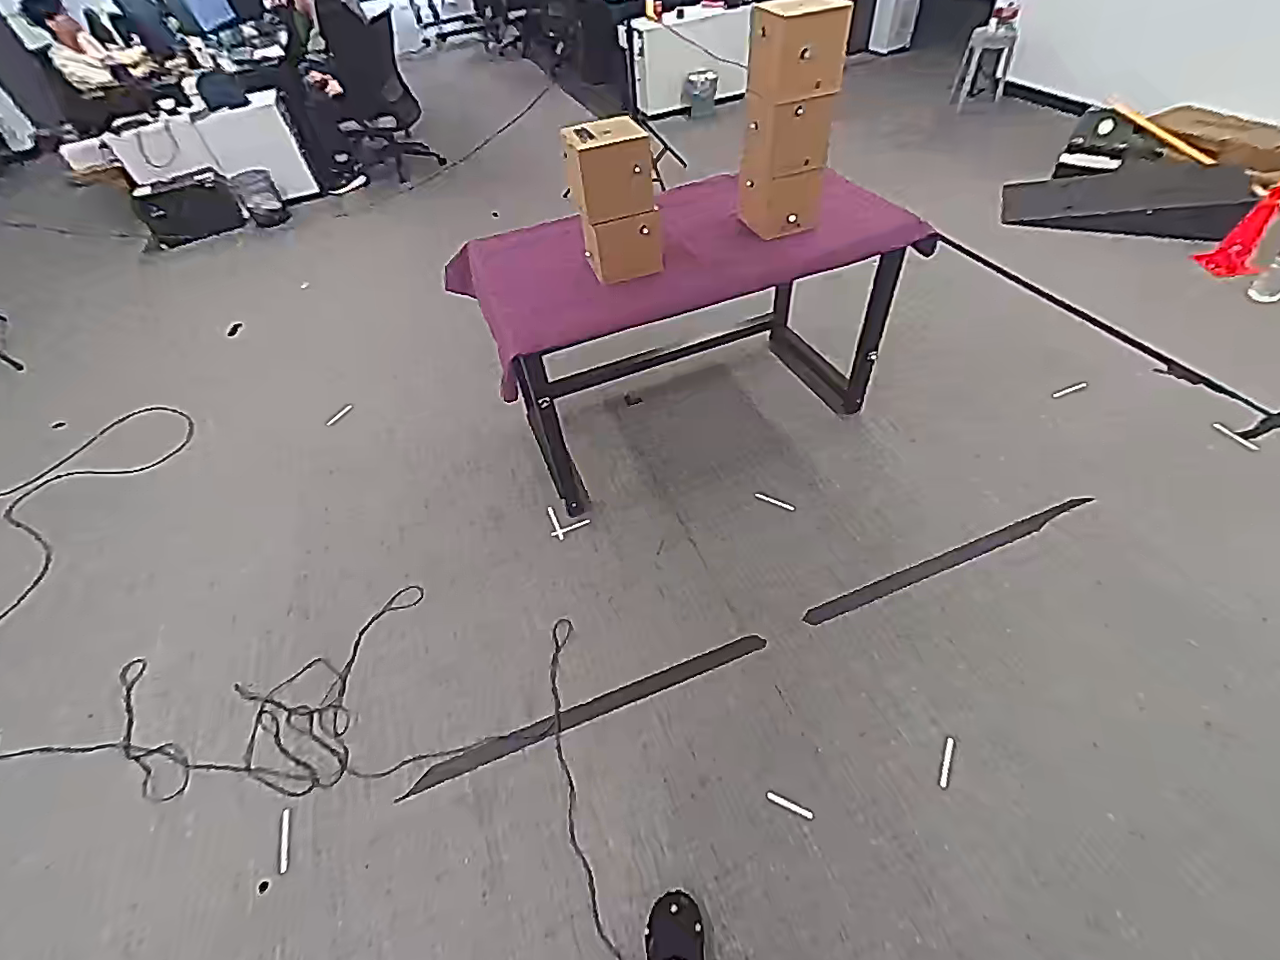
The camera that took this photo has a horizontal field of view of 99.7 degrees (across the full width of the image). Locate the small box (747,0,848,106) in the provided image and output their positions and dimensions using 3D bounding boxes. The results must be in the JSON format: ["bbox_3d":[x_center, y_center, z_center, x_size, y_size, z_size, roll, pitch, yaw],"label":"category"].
[{"bbox_3d":[0.365,-1.011,1.283,0.168,0.176,0.179,-17,49,-7],"label":"small box"}]

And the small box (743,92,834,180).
[{"bbox_3d":[0.377,-0.909,1.411,0.168,0.176,0.179,-17,49,-7],"label":"small box"}]

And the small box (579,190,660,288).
[{"bbox_3d":[-0.050,-0.645,1.451,0.179,0.176,0.168,-18,49,-8],"label":"small box"}]

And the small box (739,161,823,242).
[{"bbox_3d":[0.391,-0.806,1.538,0.168,0.176,0.179,-18,50,-8],"label":"small box"}]
